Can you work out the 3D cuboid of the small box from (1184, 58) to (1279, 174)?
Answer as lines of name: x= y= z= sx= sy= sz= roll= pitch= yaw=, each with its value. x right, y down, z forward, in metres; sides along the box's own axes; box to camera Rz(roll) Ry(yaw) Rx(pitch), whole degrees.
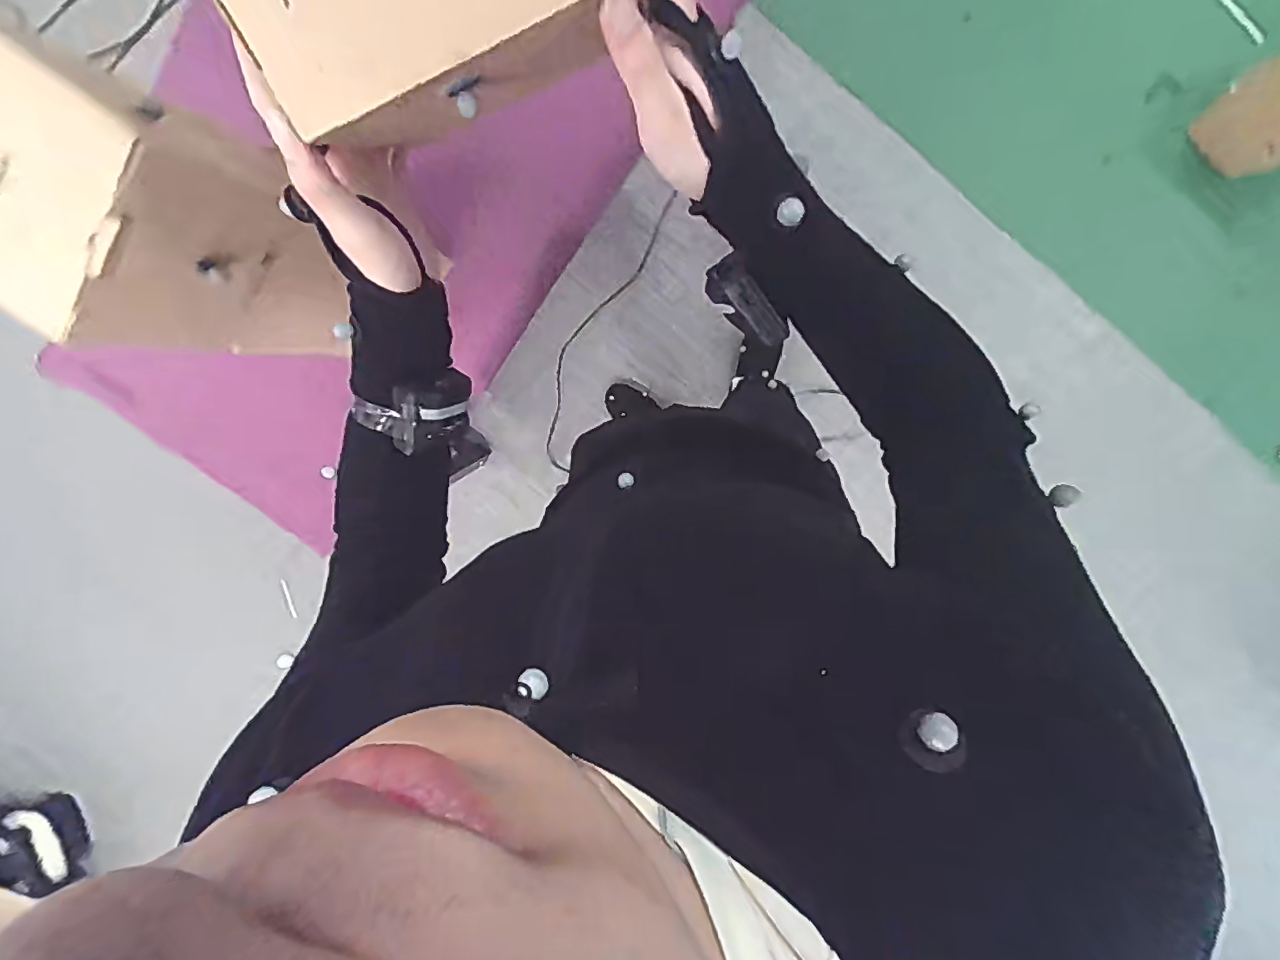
small box: x=1.452 y=-0.846 z=1.252 sx=0.179 sy=0.176 sz=0.168 roll=39 pitch=103 yaw=-7

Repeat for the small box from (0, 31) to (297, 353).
small box: x=-0.439 y=-0.225 z=0.450 sx=0.179 sy=0.176 sz=0.168 roll=35 pitch=102 yaw=-5

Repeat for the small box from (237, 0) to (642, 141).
small box: x=-0.105 y=-0.298 z=0.282 sx=0.179 sy=0.176 sz=0.168 roll=-17 pitch=119 yaw=10

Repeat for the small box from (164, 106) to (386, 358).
small box: x=-0.422 y=-0.257 z=0.609 sx=0.168 sy=0.176 sz=0.179 roll=36 pitch=103 yaw=-4
